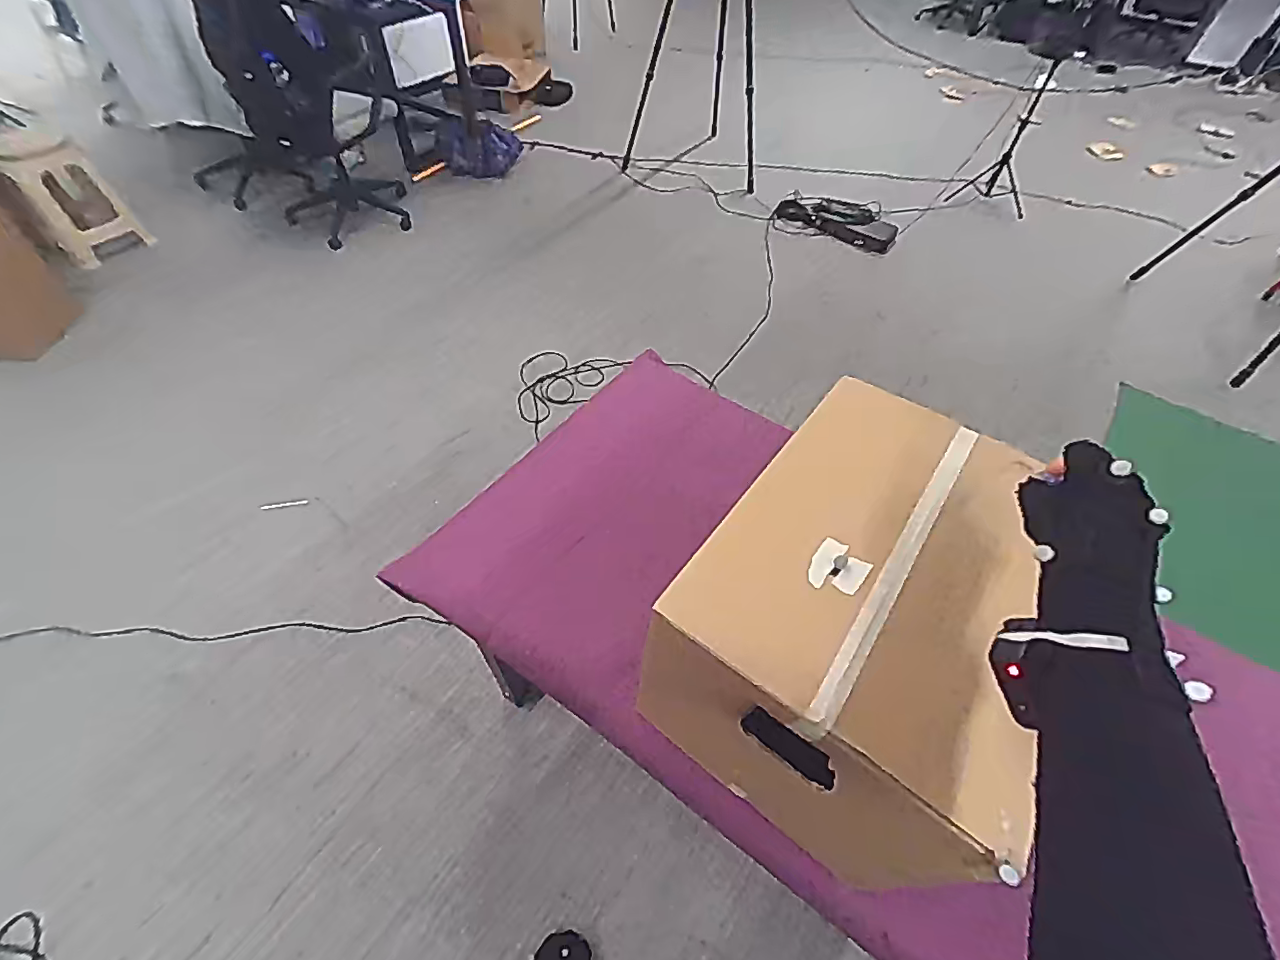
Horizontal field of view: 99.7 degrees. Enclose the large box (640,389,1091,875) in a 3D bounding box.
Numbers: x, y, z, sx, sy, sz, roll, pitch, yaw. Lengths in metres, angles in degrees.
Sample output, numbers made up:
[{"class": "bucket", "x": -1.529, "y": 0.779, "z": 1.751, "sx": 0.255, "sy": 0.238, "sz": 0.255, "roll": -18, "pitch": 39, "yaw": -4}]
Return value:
[{"class": "large box", "x": 0.244, "y": 0.170, "z": 0.653, "sx": 0.320, "sy": 0.320, "sz": 0.408, "roll": 33, "pitch": 57, "yaw": 21}]
